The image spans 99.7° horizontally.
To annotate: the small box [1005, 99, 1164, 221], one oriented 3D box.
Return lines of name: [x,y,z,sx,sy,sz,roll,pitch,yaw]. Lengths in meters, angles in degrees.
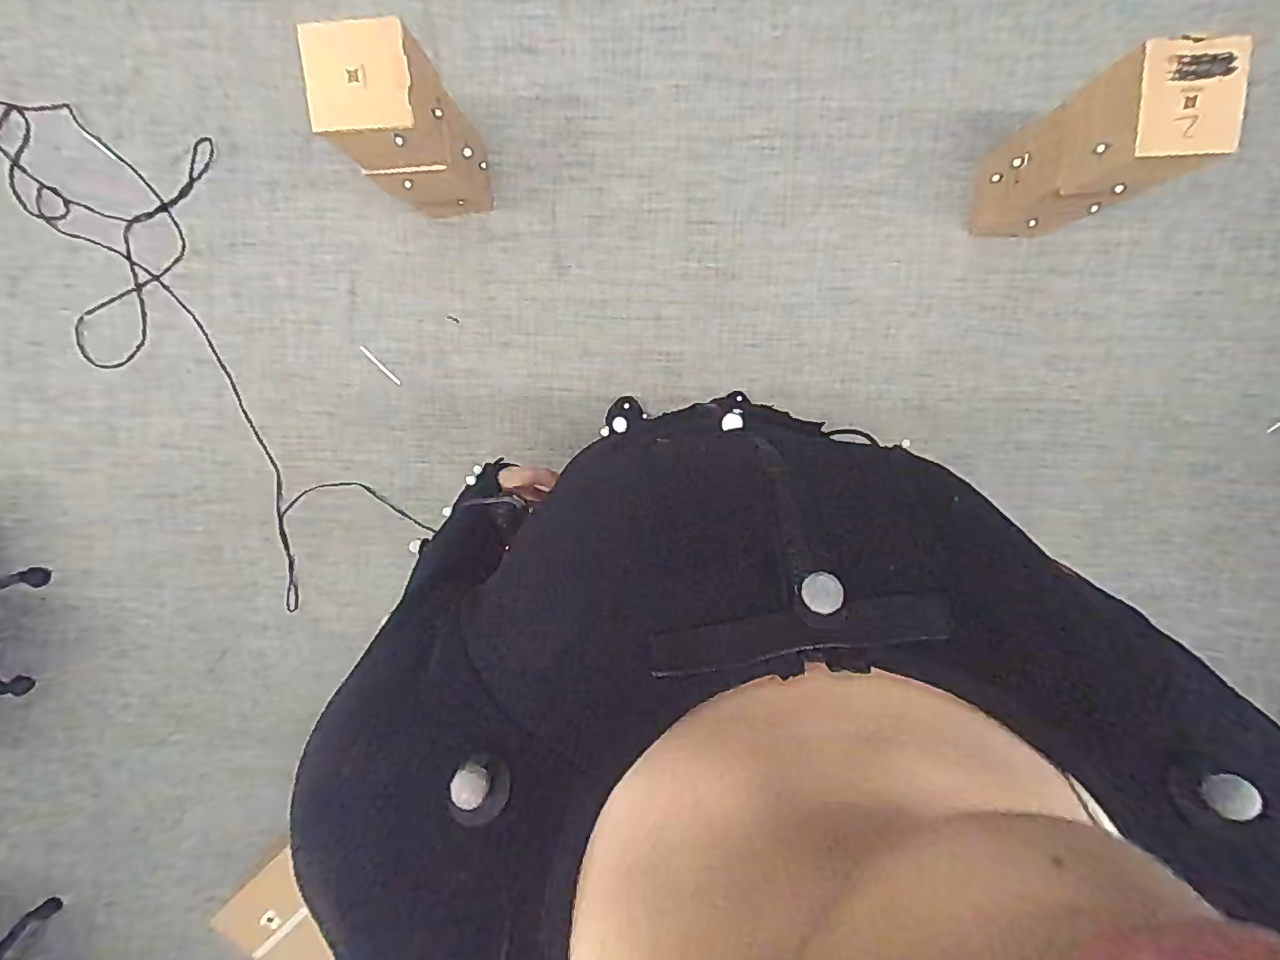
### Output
small box: [0.900,-0.647,1.109,0.179,0.176,0.168,3,98,2]

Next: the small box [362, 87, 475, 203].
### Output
small box: [-0.467,-0.700,1.142,0.179,0.176,0.168,-2,100,1]

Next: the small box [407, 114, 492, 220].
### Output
small box: [-0.466,-0.743,1.301,0.179,0.176,0.168,-6,98,3]

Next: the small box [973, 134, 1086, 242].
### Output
small box: [0.915,-0.678,1.269,0.168,0.176,0.179,3,99,2]

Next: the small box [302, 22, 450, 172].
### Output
small box: [-0.468,-0.680,0.980,0.179,0.176,0.168,-4,99,1]
